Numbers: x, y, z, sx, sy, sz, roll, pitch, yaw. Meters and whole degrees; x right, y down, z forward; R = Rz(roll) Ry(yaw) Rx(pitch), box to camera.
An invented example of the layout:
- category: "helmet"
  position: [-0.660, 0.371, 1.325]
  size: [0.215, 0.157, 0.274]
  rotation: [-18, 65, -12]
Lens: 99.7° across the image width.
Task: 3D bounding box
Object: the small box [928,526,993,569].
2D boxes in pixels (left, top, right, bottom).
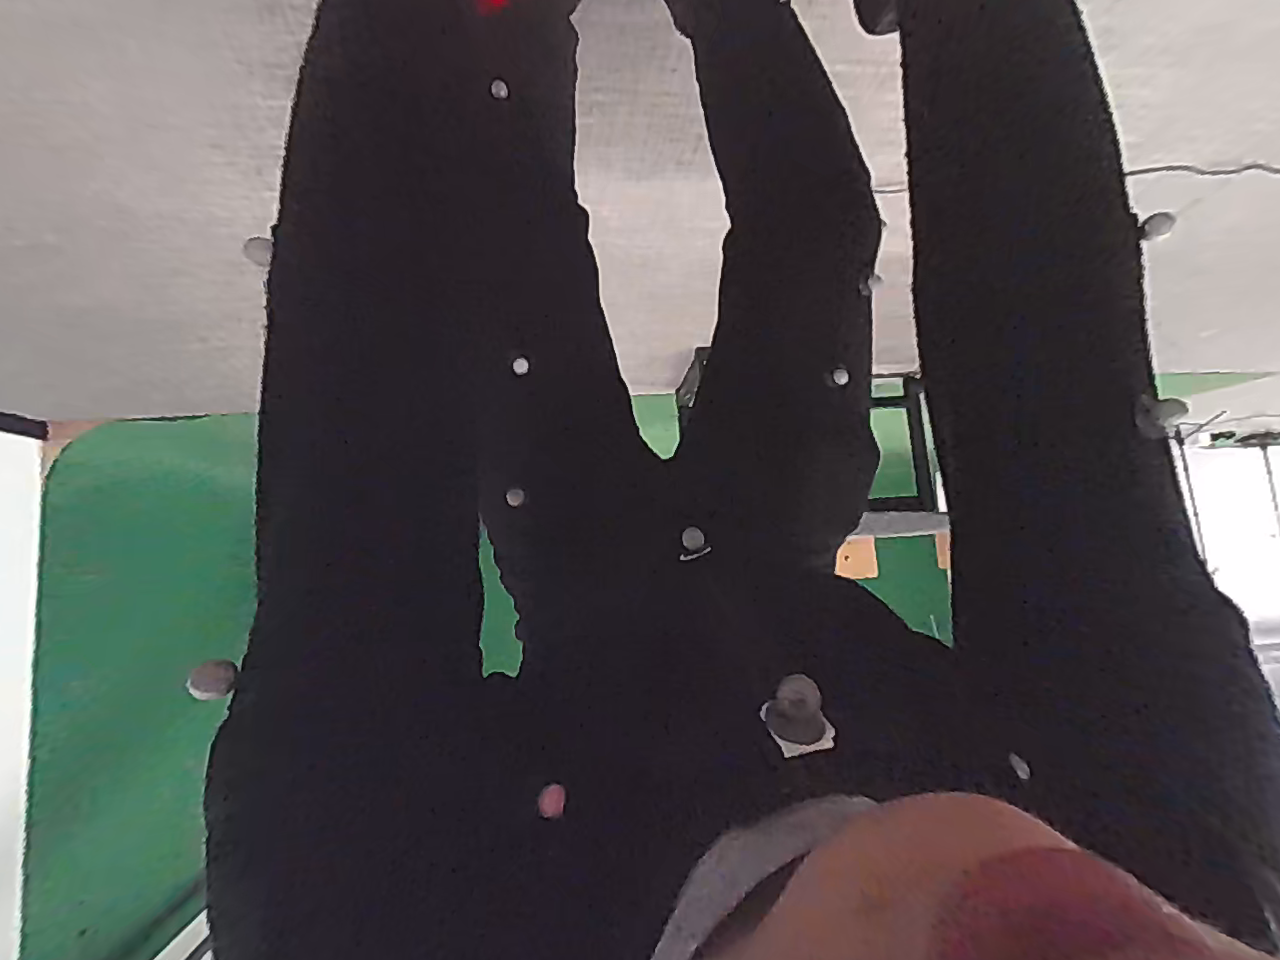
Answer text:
- category: "small box"
  position: [1.318, 0.275, 2.233]
  size: [0.168, 0.176, 0.179]
  rotation: [-3, 174, -6]

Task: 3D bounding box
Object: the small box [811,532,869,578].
- category: "small box"
  position: [0.803, 0.301, 2.190]
  size: [0.168, 0.176, 0.179]
  rotation: [-2, 175, -5]
